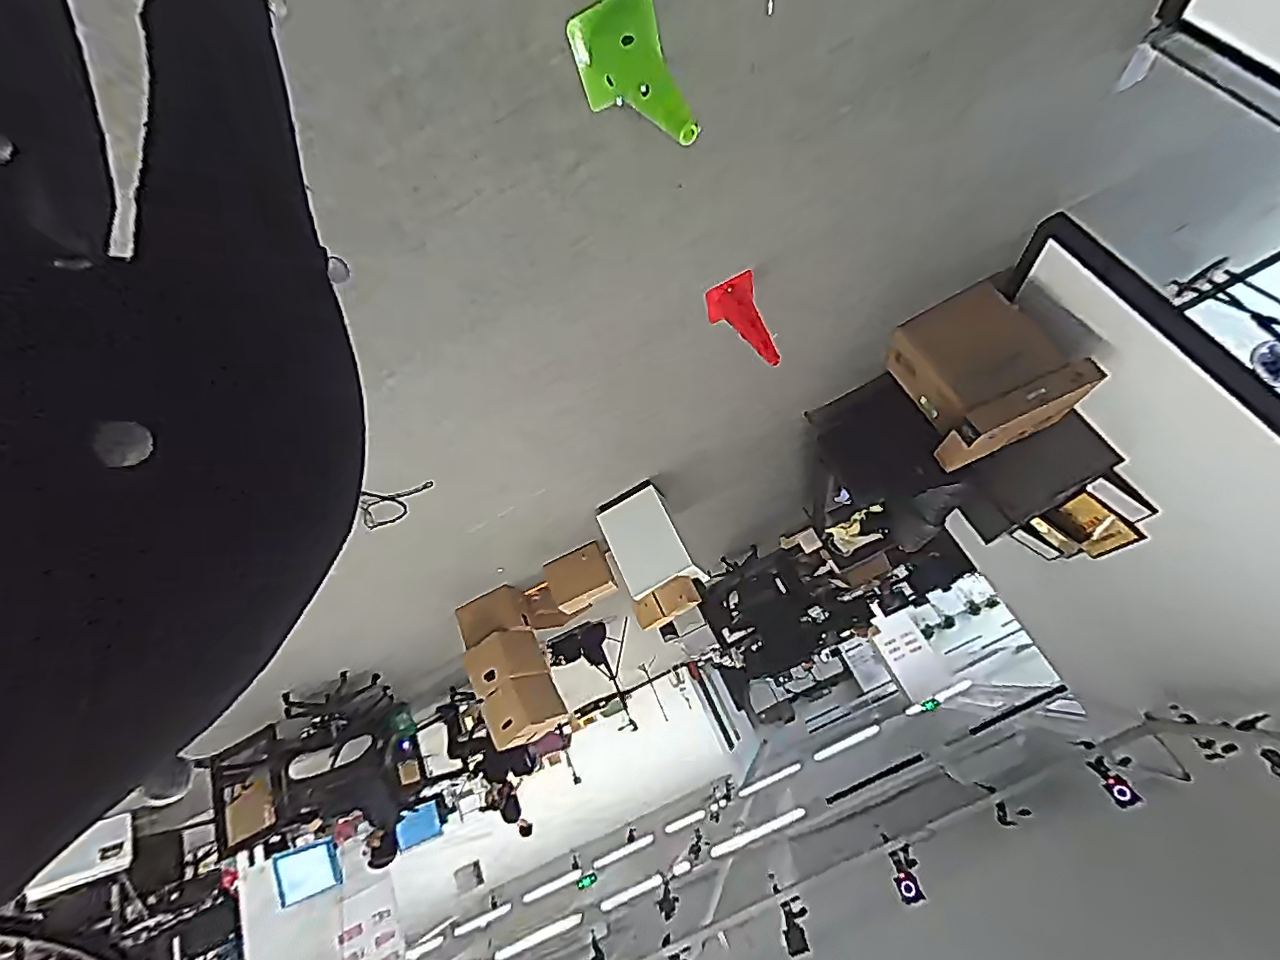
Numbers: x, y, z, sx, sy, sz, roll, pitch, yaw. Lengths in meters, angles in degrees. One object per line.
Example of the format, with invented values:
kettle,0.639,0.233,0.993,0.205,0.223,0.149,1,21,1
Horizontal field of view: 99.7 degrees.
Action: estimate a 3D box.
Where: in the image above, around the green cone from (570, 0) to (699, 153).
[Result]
green cone,0.024,-0.820,1.144,0.200,0.368,0.202,-28,157,4
